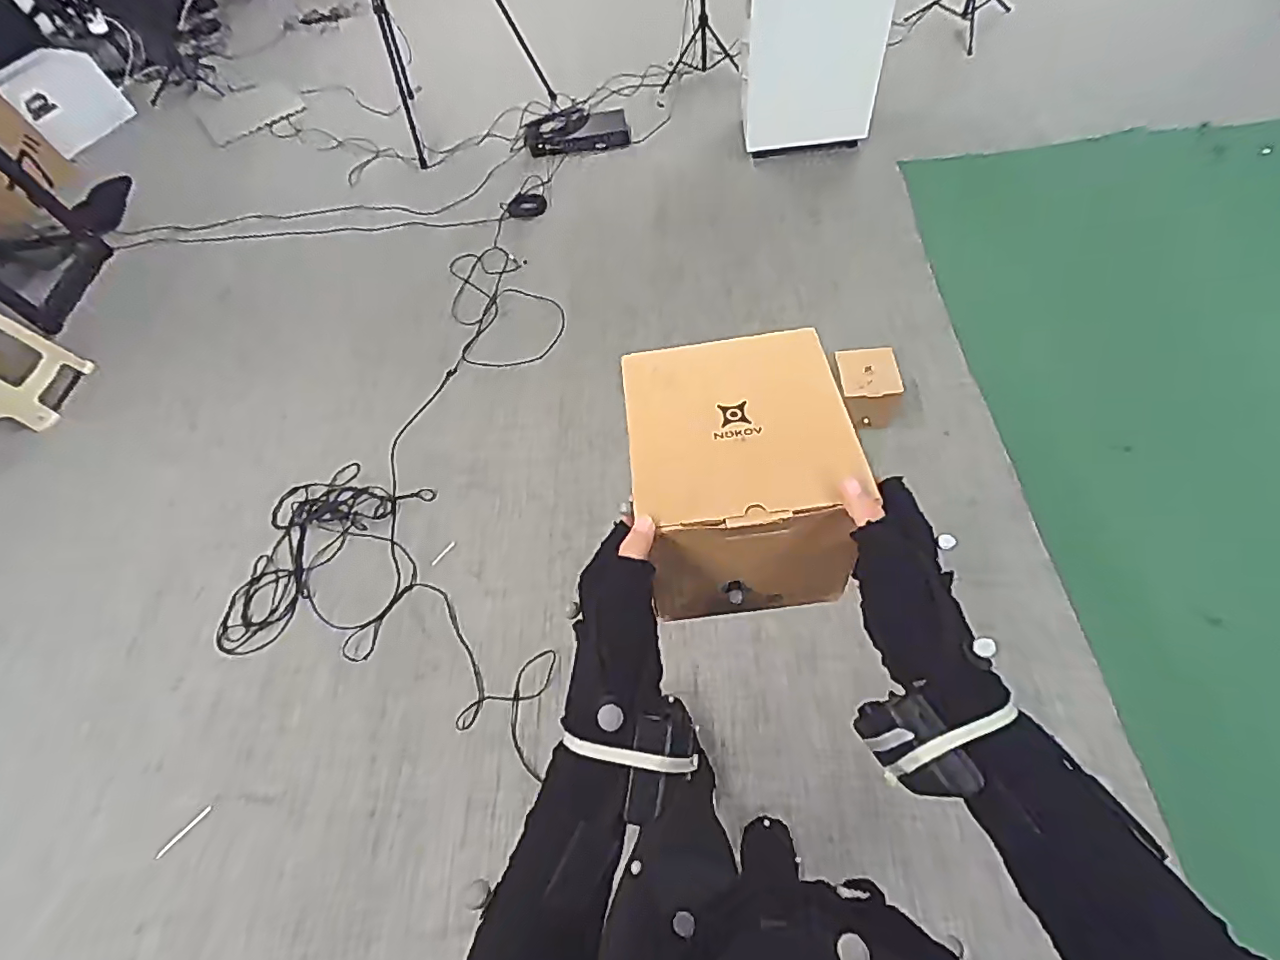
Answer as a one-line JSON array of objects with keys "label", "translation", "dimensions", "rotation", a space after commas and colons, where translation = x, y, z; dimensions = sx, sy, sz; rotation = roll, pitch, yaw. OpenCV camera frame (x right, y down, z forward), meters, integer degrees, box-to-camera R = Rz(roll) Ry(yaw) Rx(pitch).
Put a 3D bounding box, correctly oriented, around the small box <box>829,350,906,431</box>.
[{"label": "small box", "translation": [0.682, -0.269, 1.642], "dimensions": [0.168, 0.176, 0.179], "rotation": [-4, 60, 8]}]
